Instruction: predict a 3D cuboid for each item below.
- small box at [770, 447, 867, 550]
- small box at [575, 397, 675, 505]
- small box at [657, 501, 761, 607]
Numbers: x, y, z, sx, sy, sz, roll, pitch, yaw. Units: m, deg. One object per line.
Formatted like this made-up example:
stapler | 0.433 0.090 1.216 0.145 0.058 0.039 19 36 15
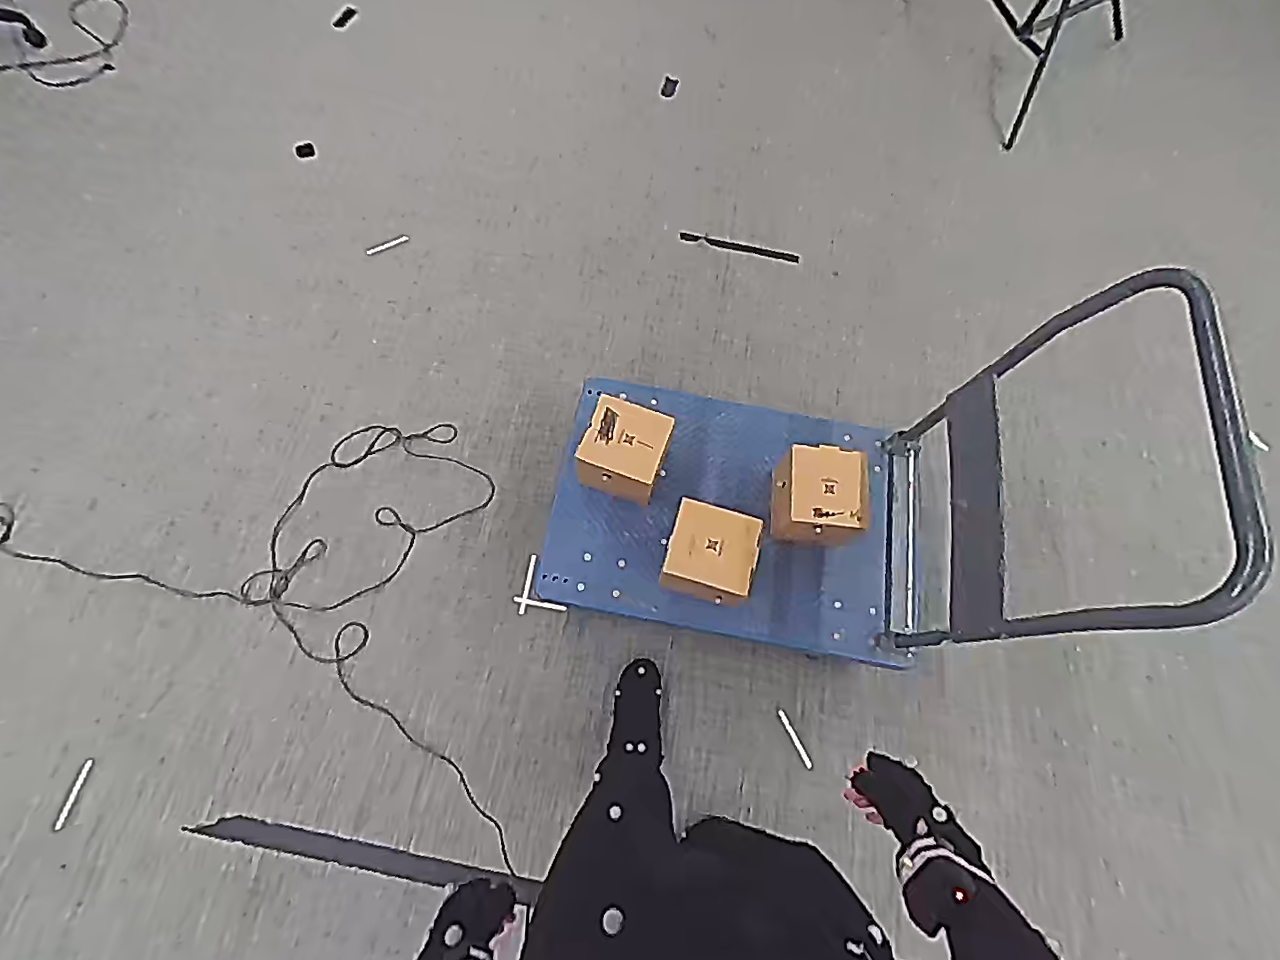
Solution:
small box | 0.396 0.046 1.223 0.168 0.176 0.179 7 69 0
small box | -0.036 -0.060 1.240 0.179 0.176 0.168 20 71 3
small box | 0.143 0.167 1.169 0.179 0.176 0.168 16 68 4
